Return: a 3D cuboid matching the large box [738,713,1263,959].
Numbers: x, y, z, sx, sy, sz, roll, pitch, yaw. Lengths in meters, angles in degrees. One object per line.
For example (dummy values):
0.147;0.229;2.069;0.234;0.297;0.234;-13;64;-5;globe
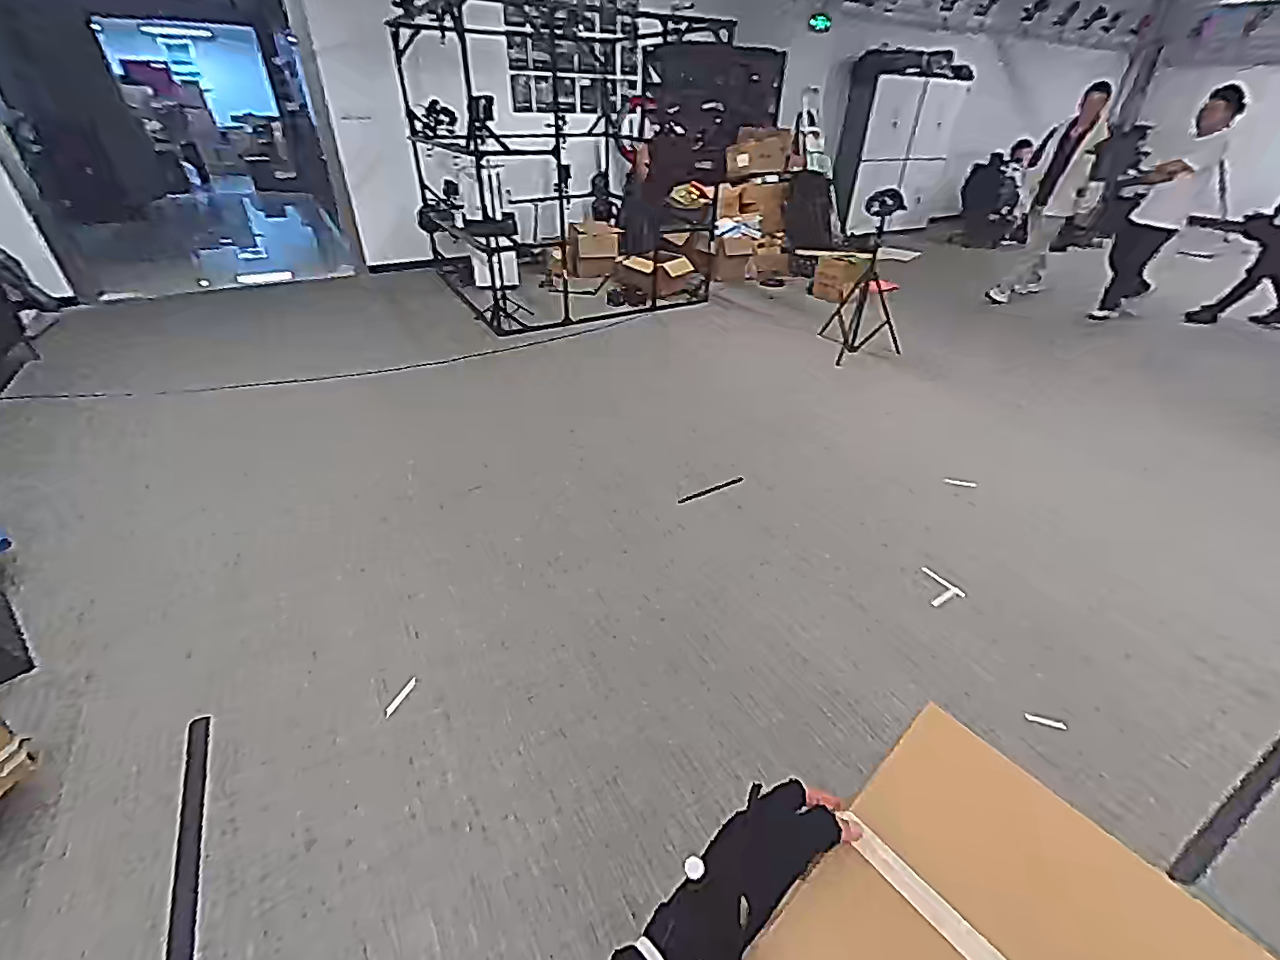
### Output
0.309;0.506;0.464;0.320;0.320;0.408;-32;50;-29;large box
